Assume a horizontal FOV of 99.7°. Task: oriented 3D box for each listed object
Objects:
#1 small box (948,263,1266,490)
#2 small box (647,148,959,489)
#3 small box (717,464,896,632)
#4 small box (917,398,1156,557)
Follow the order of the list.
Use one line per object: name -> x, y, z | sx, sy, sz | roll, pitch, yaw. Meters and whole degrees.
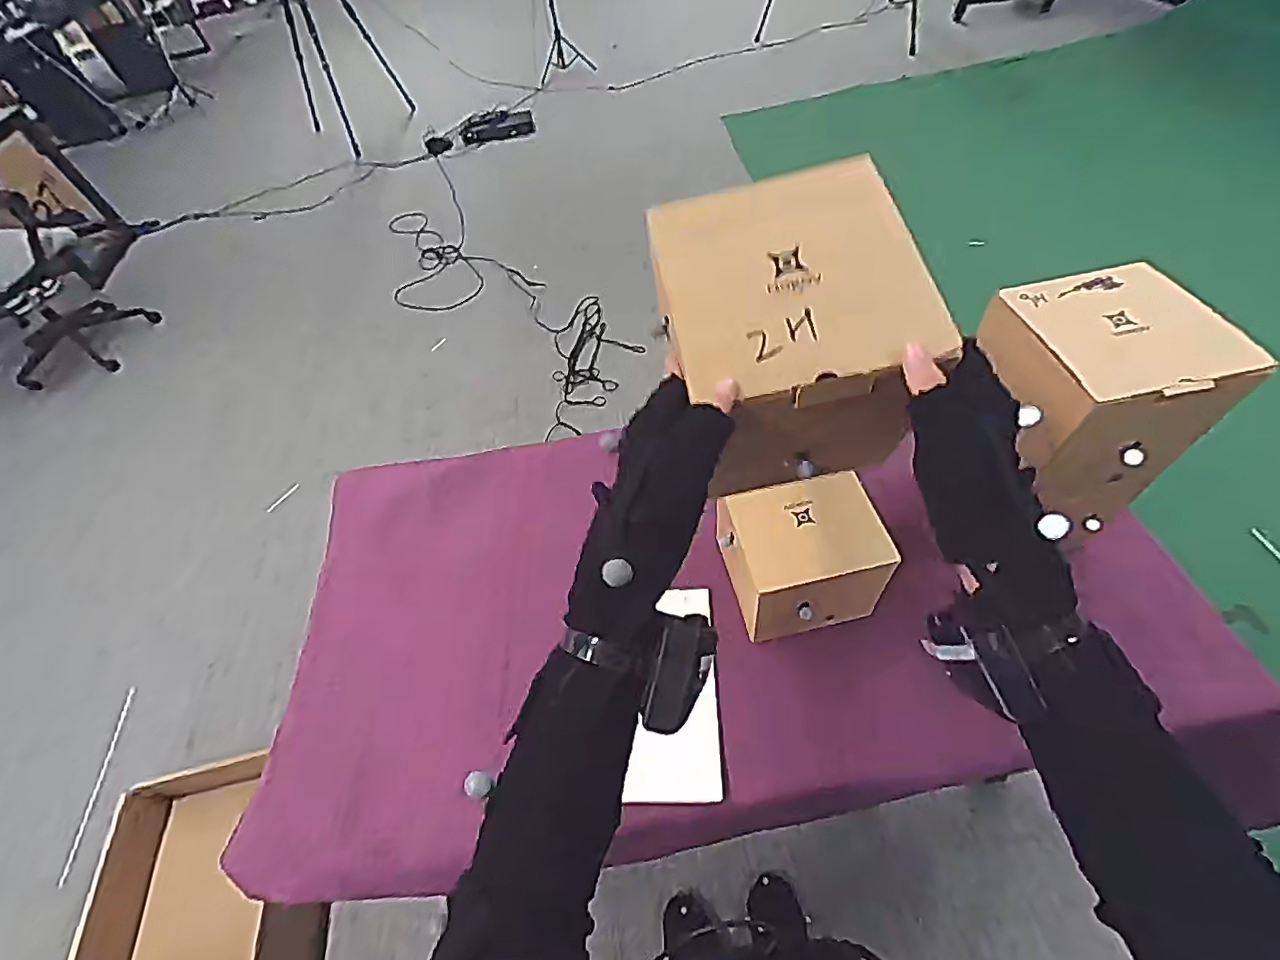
small box -> 0.483, -0.104, 0.599 | 0.168, 0.176, 0.179 | -10, 54, 0
small box -> 0.105, -0.113, 0.428 | 0.168, 0.176, 0.179 | -12, 68, 3
small box -> 0.204, 0.086, 0.713 | 0.168, 0.176, 0.179 | -13, 53, 0
small box -> 0.510, -0.011, 0.731 | 0.168, 0.176, 0.179 | -10, 53, 1
